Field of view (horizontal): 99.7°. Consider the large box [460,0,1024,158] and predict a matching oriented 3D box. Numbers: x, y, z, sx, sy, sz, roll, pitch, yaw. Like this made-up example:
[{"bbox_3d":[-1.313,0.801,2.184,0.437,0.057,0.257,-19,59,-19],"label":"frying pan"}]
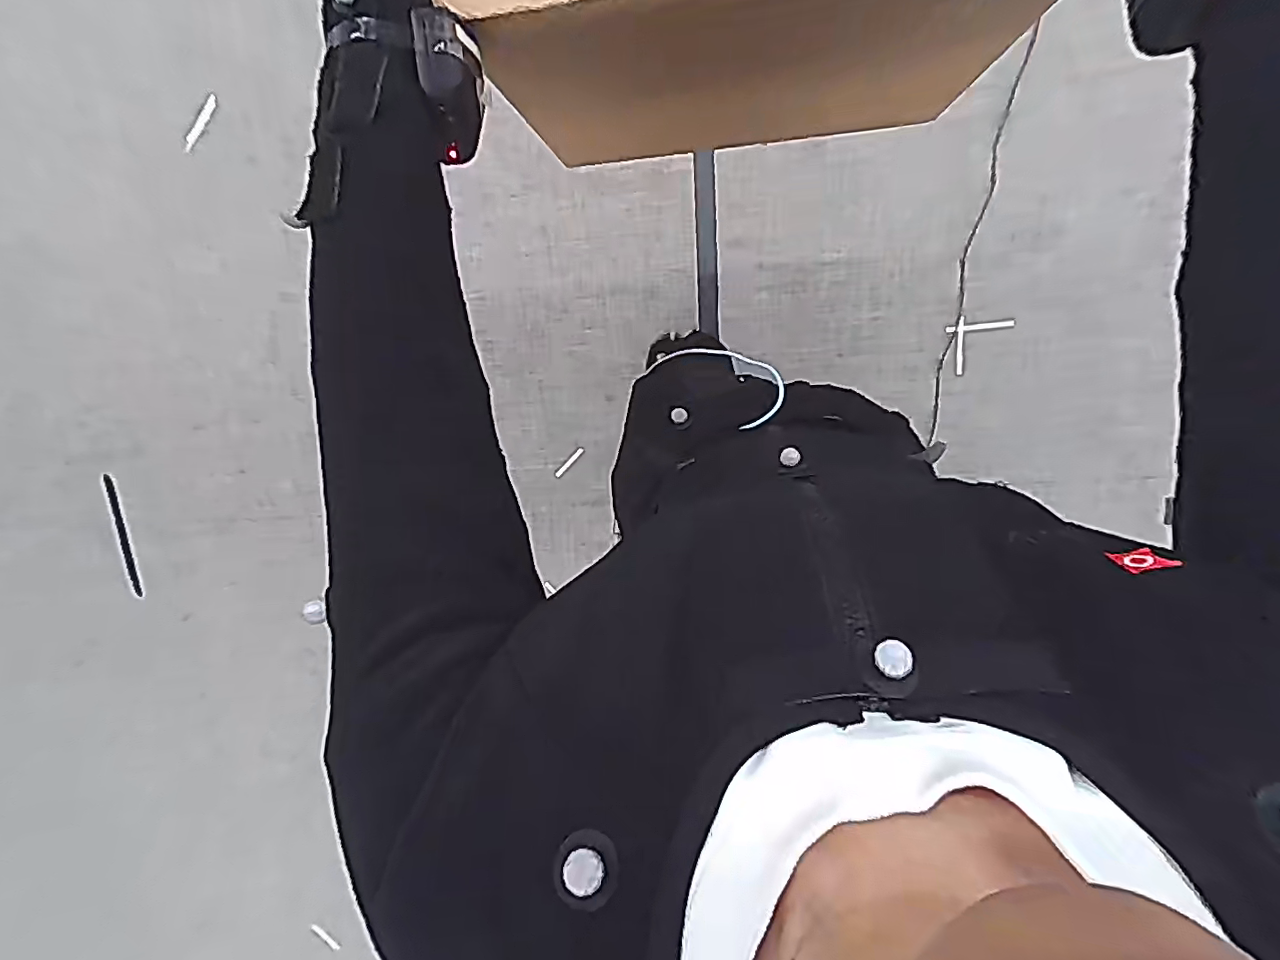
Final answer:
[{"bbox_3d":[0.081,-0.493,0.422,0.408,0.320,0.320,-3,105,7],"label":"large box"}]
